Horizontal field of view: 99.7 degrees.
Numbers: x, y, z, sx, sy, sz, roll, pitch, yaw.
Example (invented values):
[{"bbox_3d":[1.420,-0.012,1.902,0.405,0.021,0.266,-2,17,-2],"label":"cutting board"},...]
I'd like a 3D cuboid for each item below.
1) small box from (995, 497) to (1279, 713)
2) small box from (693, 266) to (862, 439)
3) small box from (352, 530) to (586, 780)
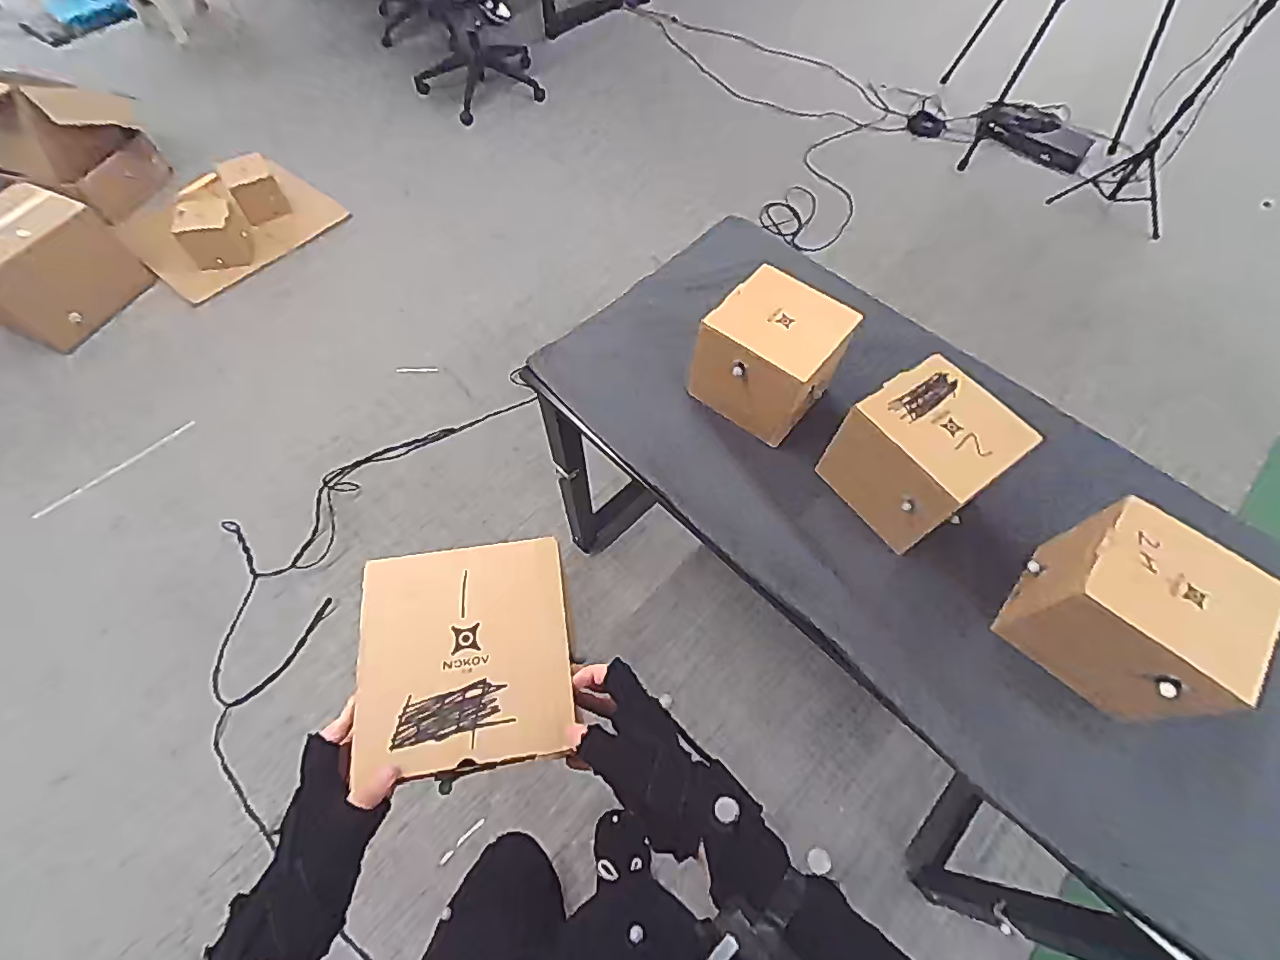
[{"bbox_3d":[0.587,0.159,0.654,0.179,0.176,0.168,39,66,19],"label":"small box"},{"bbox_3d":[0.203,-0.190,0.846,0.179,0.176,0.168,36,66,17],"label":"small box"},{"bbox_3d":[-0.143,0.165,0.504,0.168,0.176,0.179,-7,63,-7],"label":"small box"}]
